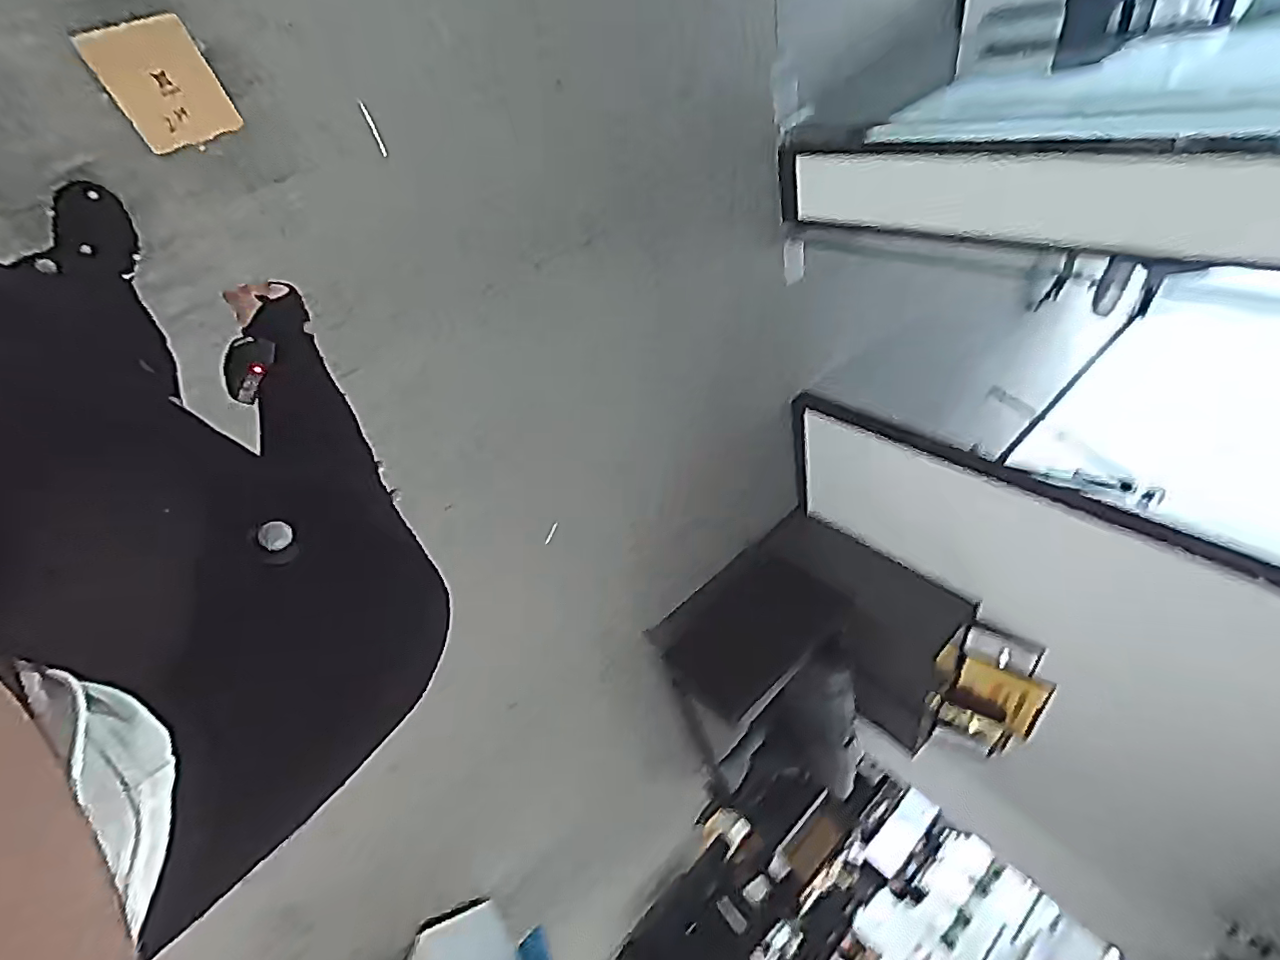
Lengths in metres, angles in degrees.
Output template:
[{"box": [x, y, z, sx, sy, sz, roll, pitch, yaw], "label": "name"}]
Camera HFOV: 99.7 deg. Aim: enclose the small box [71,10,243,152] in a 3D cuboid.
[{"box": [-0.891, -0.733, 1.008, 0.168, 0.176, 0.179, -37, 134, -21], "label": "small box"}]
